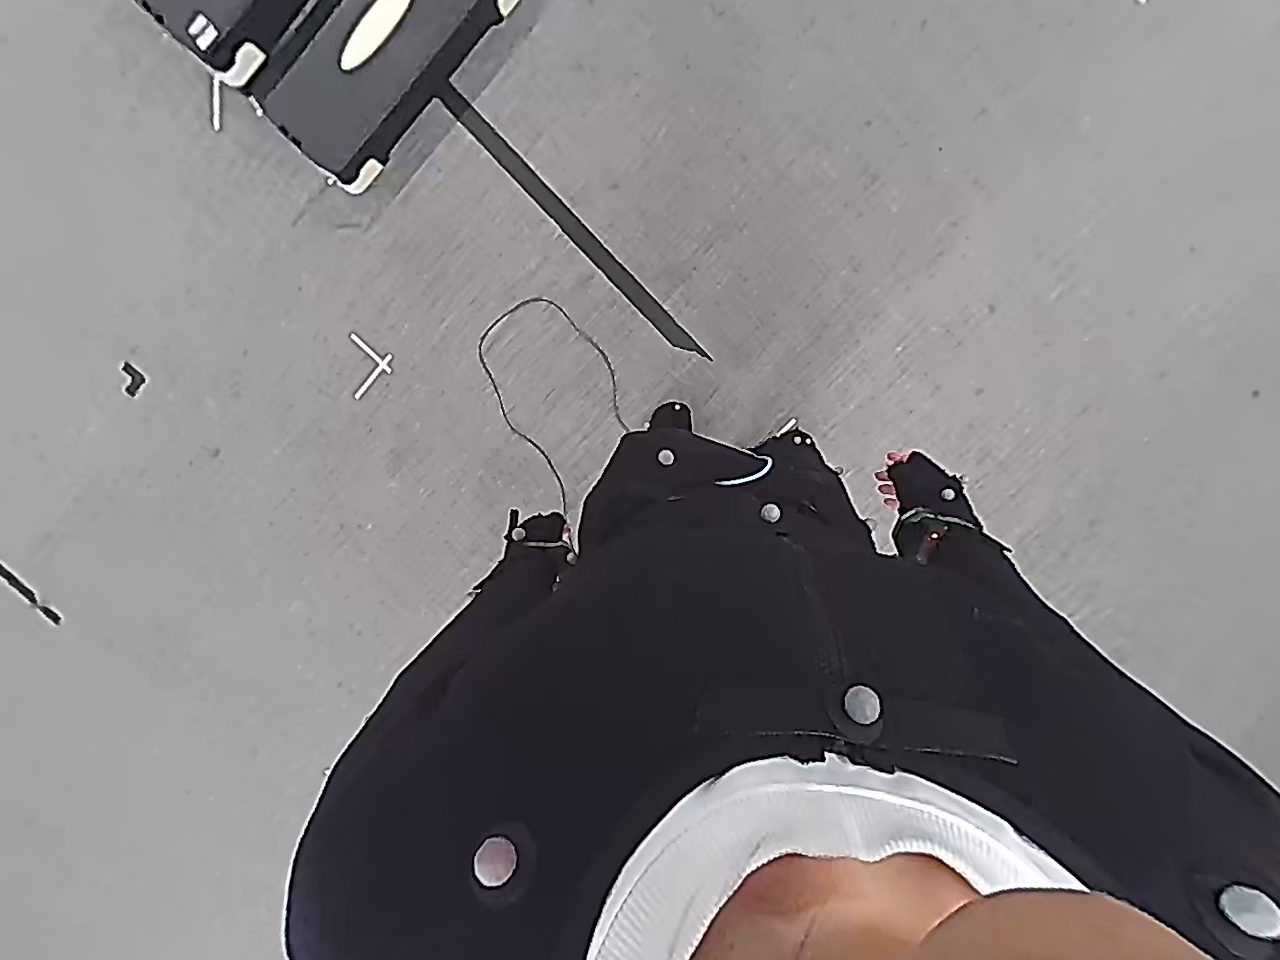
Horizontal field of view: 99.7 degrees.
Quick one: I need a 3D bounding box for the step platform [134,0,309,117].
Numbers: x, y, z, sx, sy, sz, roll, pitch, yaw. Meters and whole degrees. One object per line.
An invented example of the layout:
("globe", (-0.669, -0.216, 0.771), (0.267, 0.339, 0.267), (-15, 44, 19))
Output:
("step platform", (-0.778, -1.188, 1.189), (0.286, 0.204, 0.684), (43, 98, -6))
